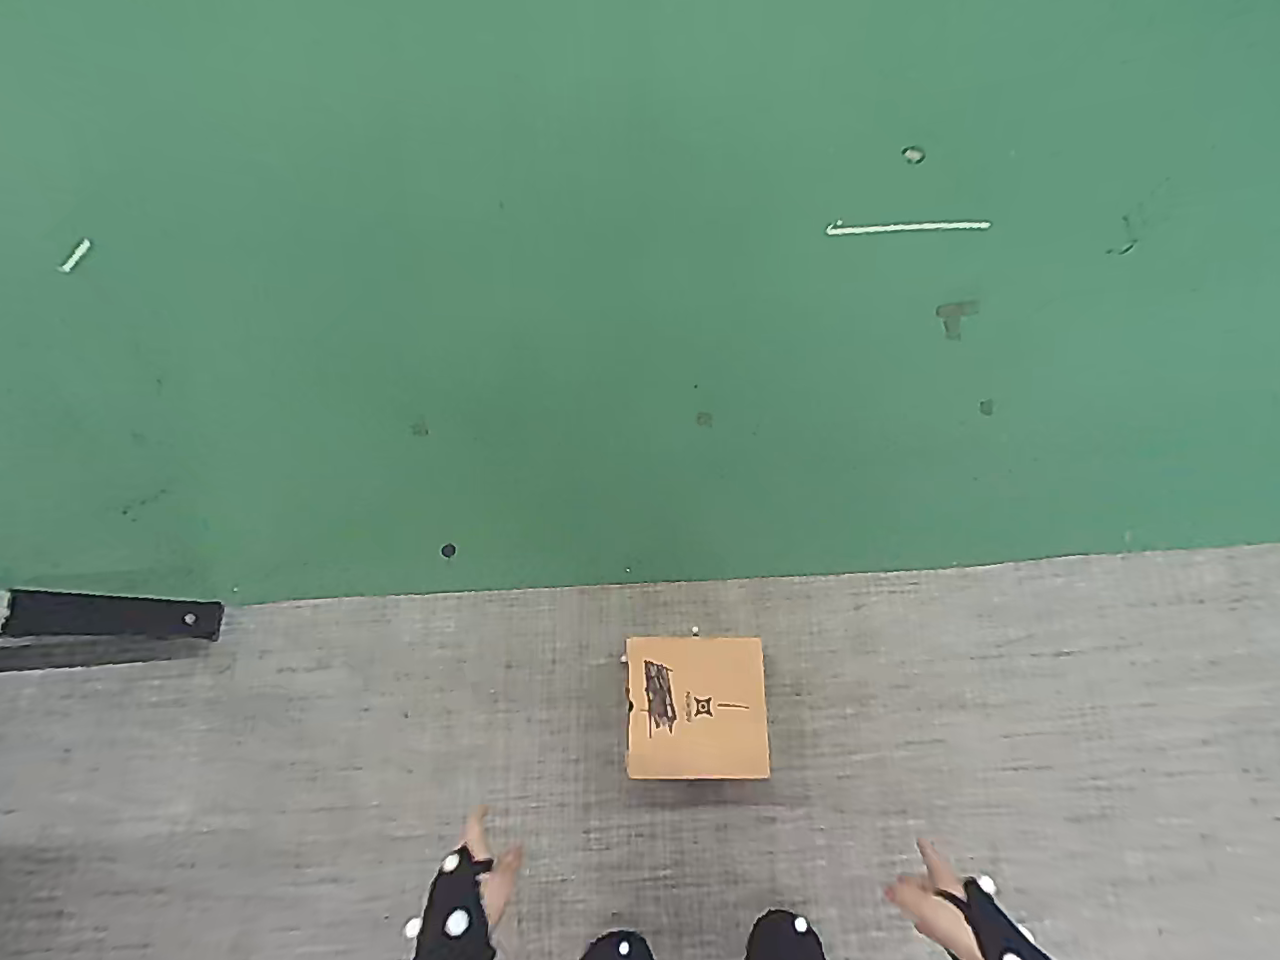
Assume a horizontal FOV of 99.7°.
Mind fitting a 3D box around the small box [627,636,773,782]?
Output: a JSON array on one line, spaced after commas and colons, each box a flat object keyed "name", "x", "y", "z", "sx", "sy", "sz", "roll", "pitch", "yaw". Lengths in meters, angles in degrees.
[{"name": "small box", "x": 0.073, "y": 0.301, "z": 0.739, "sx": 0.179, "sy": 0.176, "sz": 0.168, "roll": 0, "pitch": 74, "yaw": 0}]
